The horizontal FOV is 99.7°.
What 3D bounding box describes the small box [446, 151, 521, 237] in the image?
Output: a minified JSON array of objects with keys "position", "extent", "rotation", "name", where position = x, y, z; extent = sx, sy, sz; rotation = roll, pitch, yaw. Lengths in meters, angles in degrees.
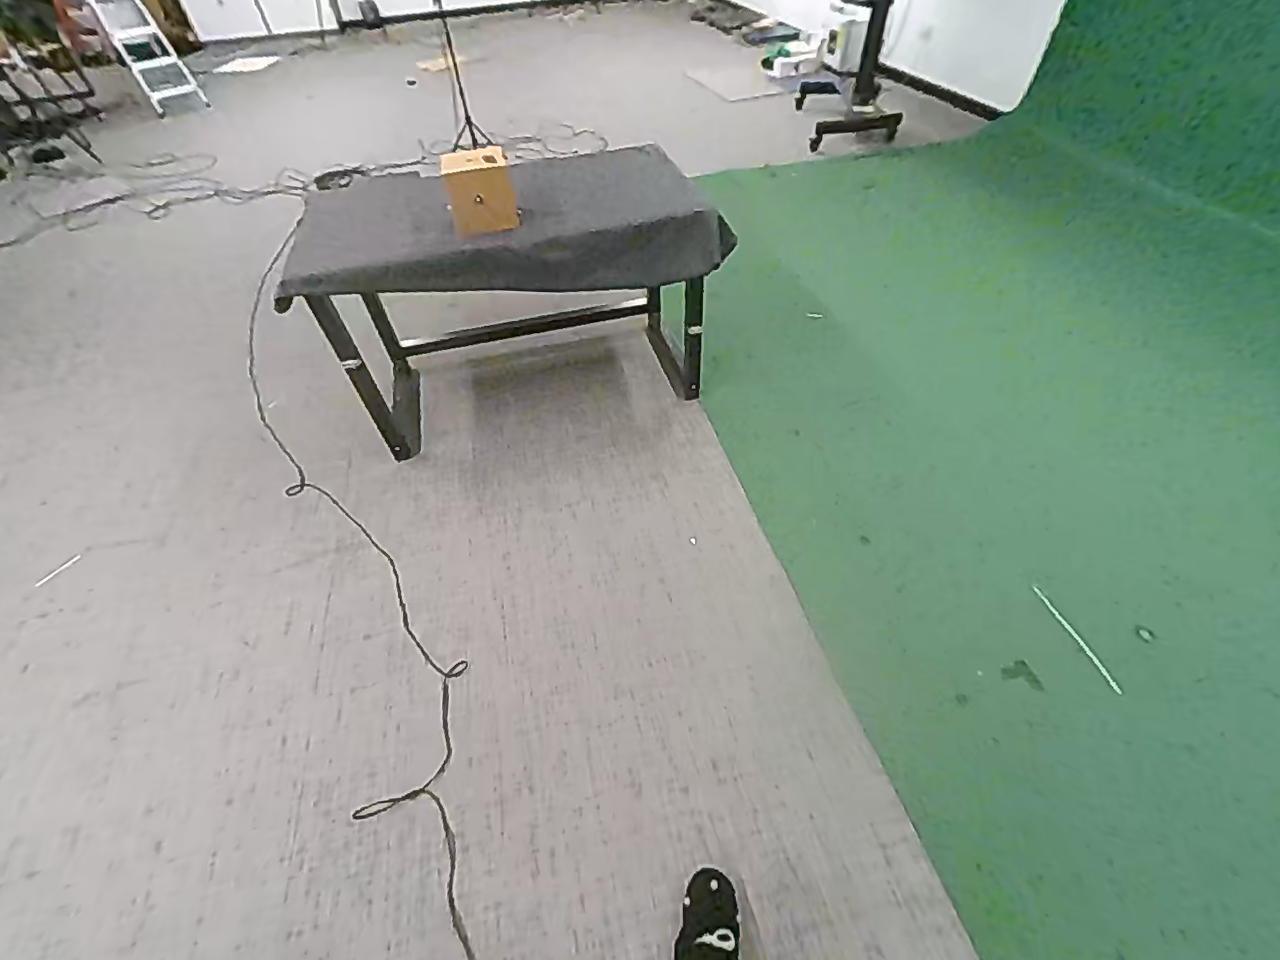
[{"position":[-0.444,-0.823,1.560],"extent":[0.179,0.176,0.168],"rotation":[-10,47,-5],"name":"small box"}]
